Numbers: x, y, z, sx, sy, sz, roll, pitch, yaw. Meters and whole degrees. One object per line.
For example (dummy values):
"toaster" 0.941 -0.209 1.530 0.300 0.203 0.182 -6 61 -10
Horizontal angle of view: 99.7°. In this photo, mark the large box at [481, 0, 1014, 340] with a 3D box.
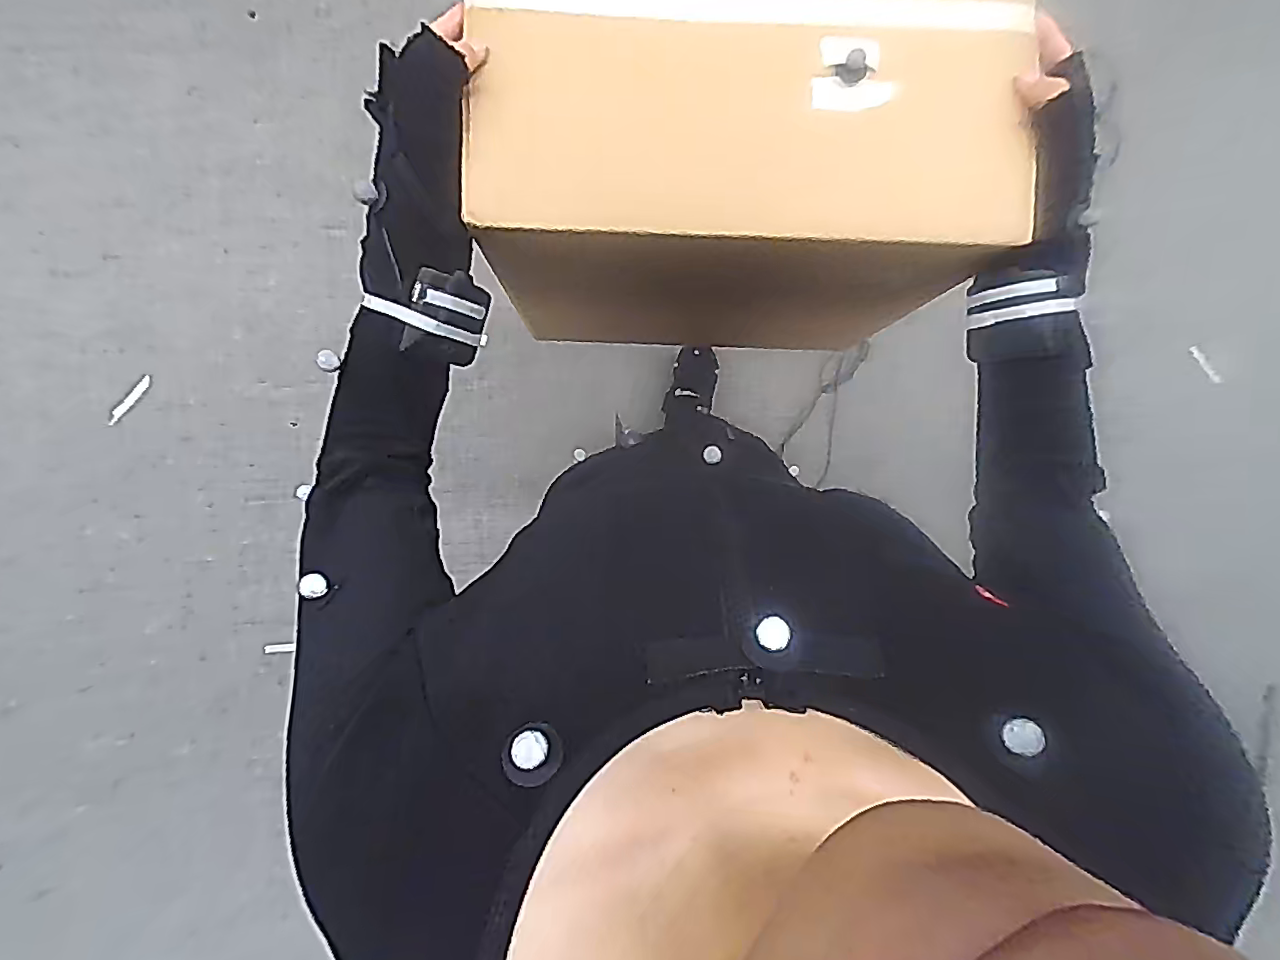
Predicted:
"large box" 0.075 -0.336 0.548 0.408 0.320 0.320 1 90 -2
